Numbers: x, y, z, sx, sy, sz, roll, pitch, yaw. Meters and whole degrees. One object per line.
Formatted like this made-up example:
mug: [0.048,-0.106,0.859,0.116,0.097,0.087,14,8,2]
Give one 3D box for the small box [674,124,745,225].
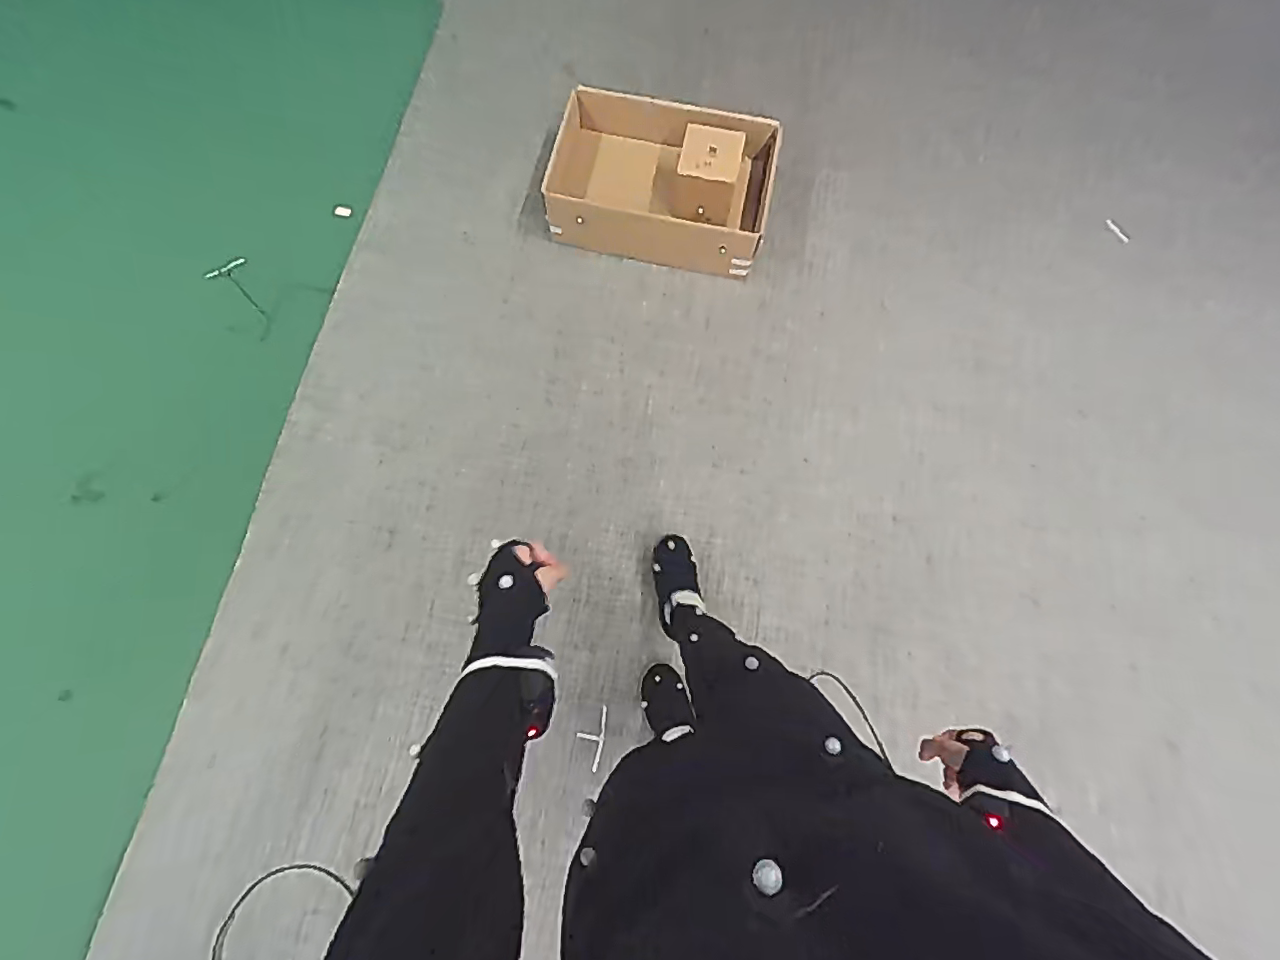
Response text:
small box: [0.193,-0.874,1.555,0.168,0.176,0.179,12,76,4]
